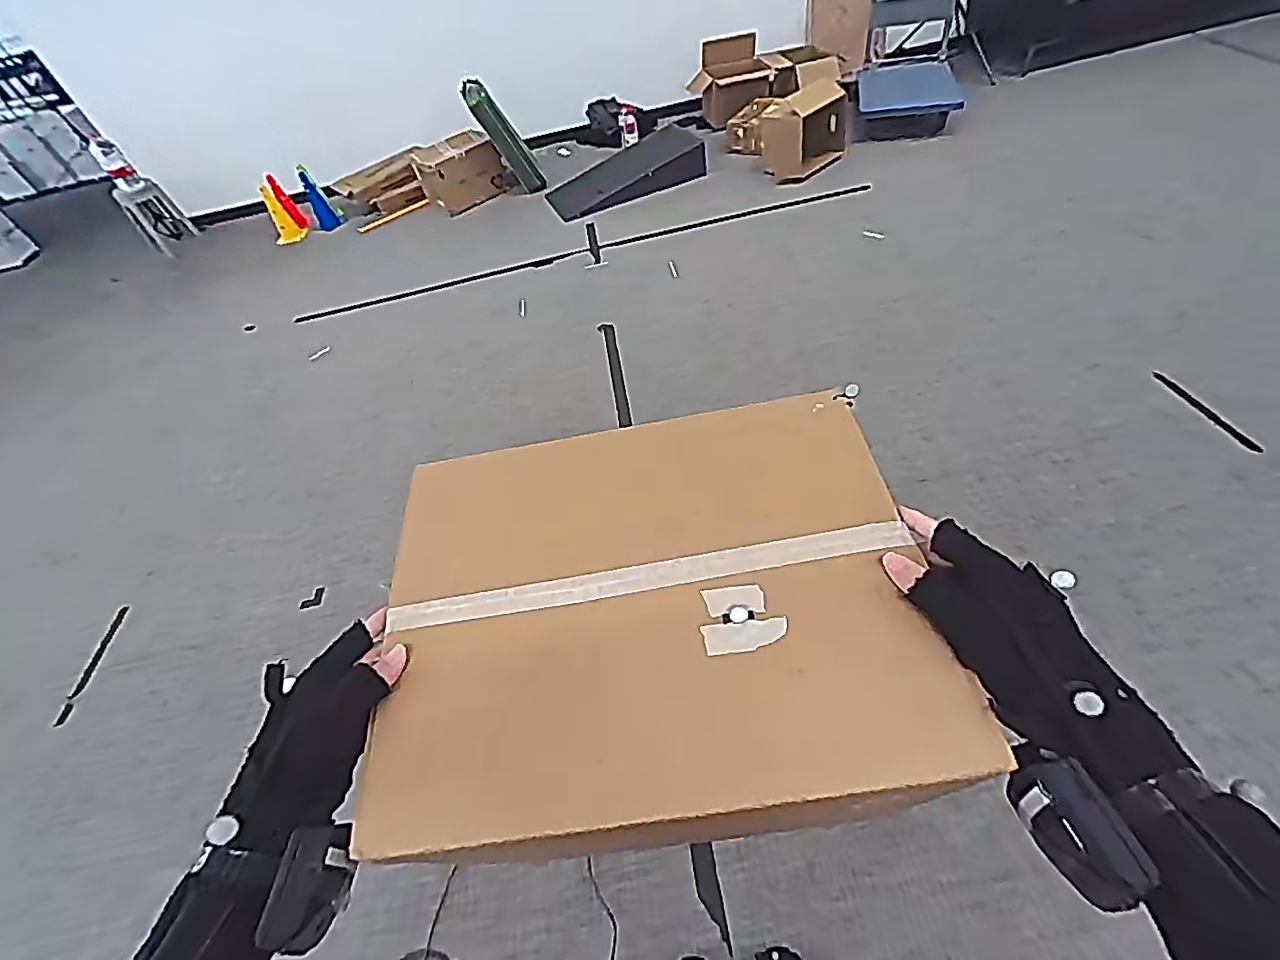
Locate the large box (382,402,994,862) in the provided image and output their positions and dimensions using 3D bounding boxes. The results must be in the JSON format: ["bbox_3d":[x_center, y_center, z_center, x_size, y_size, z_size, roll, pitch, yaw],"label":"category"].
[{"bbox_3d":[0.028,0.168,0.547,0.408,0.320,0.320,-10,54,3],"label":"large box"}]
